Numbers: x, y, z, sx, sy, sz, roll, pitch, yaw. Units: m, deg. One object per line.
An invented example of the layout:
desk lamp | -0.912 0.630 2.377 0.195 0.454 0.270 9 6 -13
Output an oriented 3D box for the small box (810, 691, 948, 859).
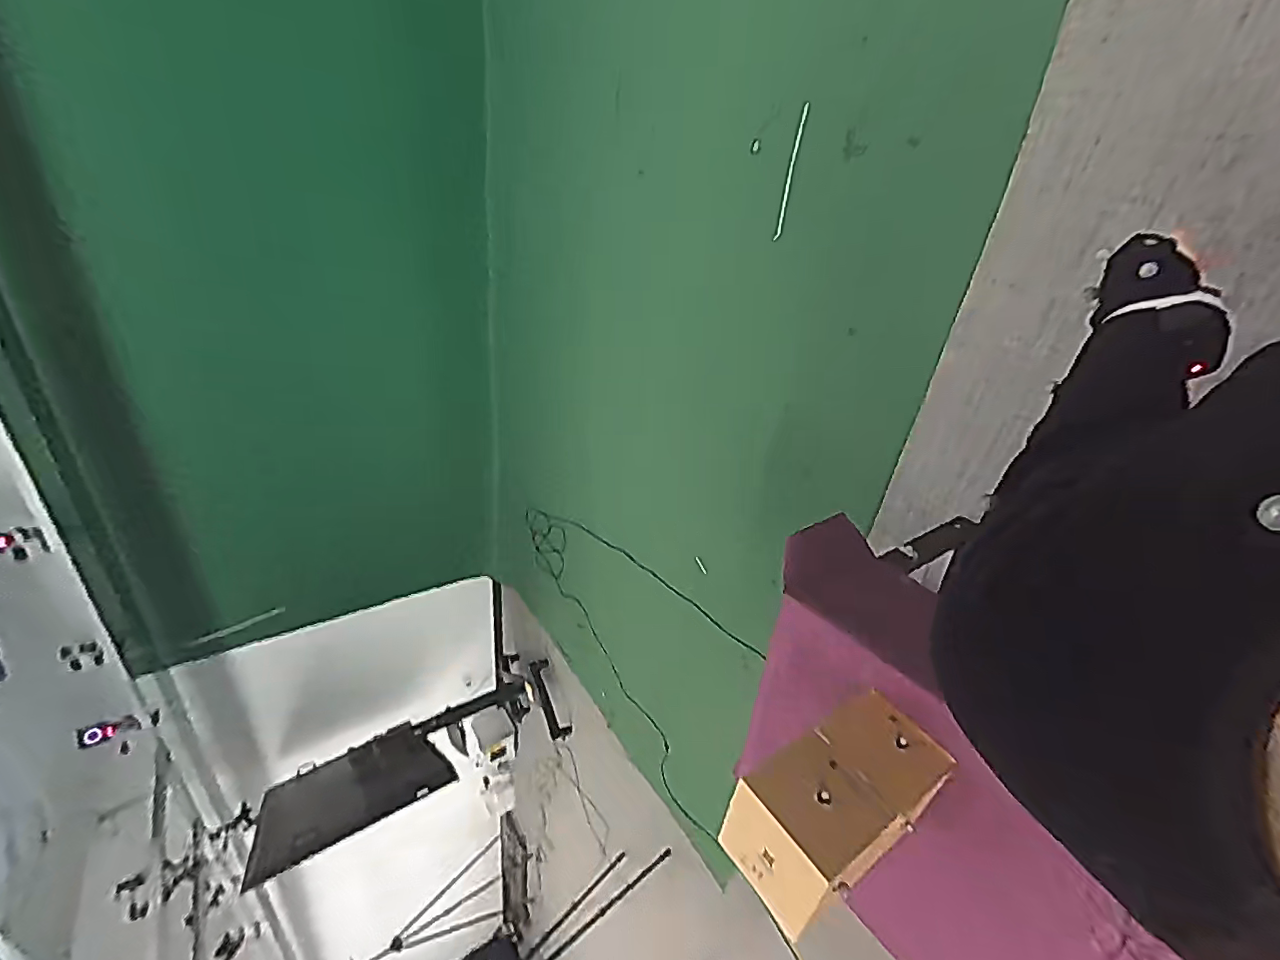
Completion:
small box | 0.383 0.501 0.920 0.168 0.176 0.179 40 131 42

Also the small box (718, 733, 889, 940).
small box | 0.249 0.531 0.829 0.168 0.176 0.179 39 131 43
